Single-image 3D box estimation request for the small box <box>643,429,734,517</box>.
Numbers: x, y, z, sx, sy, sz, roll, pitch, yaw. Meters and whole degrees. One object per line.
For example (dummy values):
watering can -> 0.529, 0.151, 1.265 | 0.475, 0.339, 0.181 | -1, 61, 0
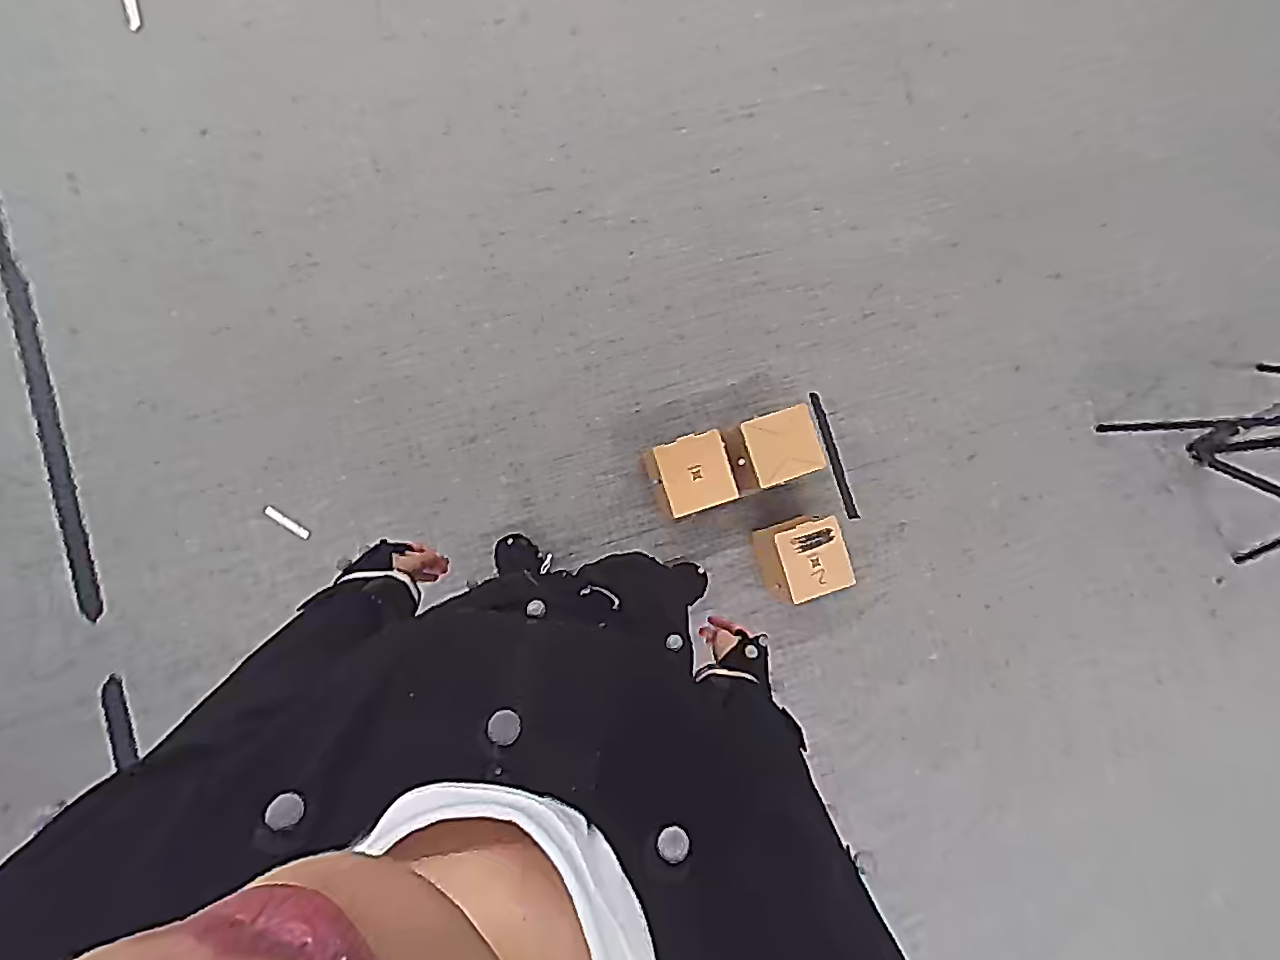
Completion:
small box -> 0.116, -0.014, 1.356 | 0.168, 0.176, 0.179 | -17, 88, -8
